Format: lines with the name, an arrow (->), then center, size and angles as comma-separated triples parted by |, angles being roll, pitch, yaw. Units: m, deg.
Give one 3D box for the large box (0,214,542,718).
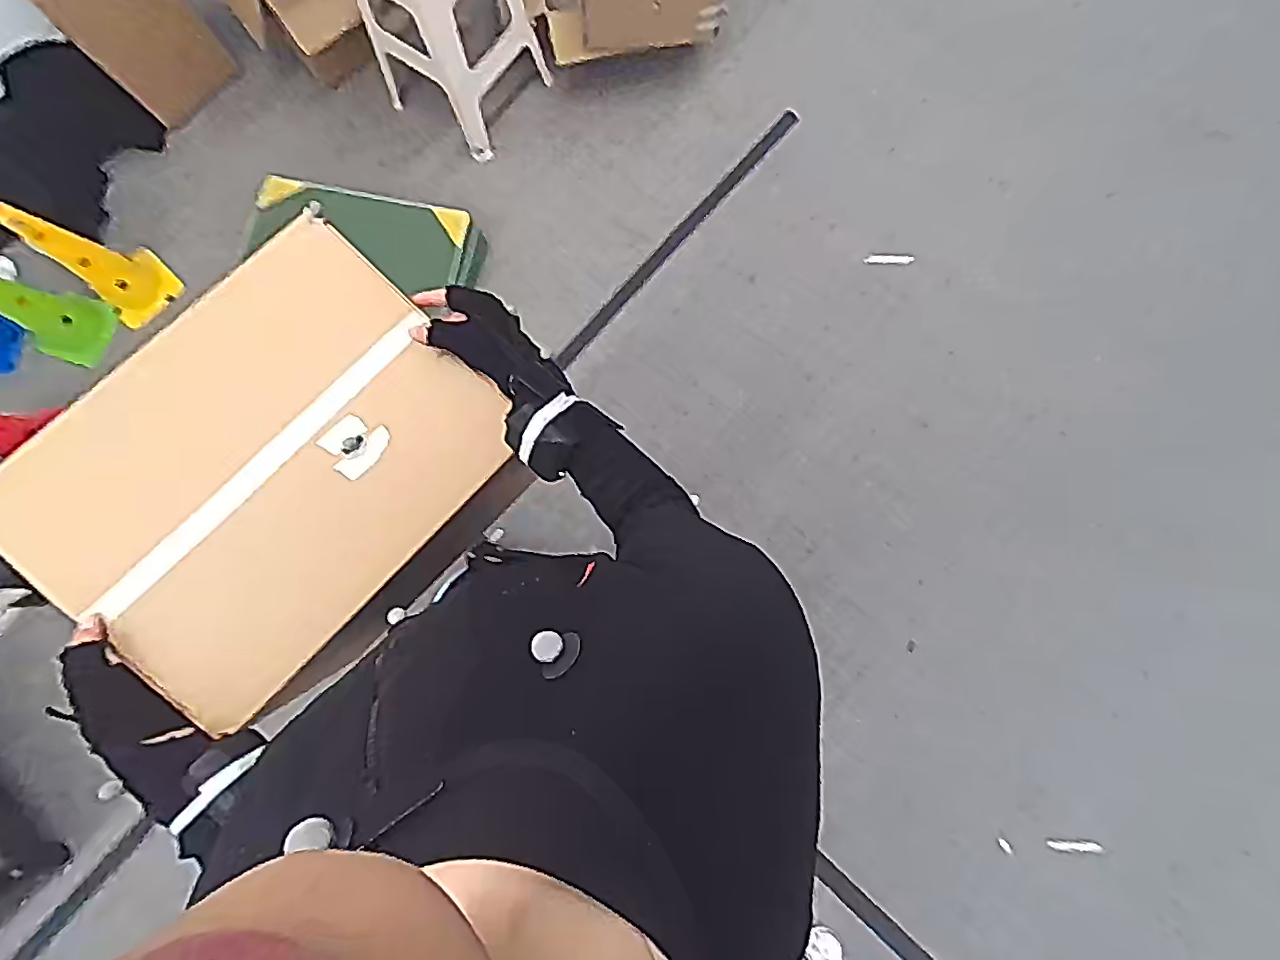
large box -> -0.371, -0.009, 0.665 | 0.320, 0.320, 0.408 | 43, 80, -3
